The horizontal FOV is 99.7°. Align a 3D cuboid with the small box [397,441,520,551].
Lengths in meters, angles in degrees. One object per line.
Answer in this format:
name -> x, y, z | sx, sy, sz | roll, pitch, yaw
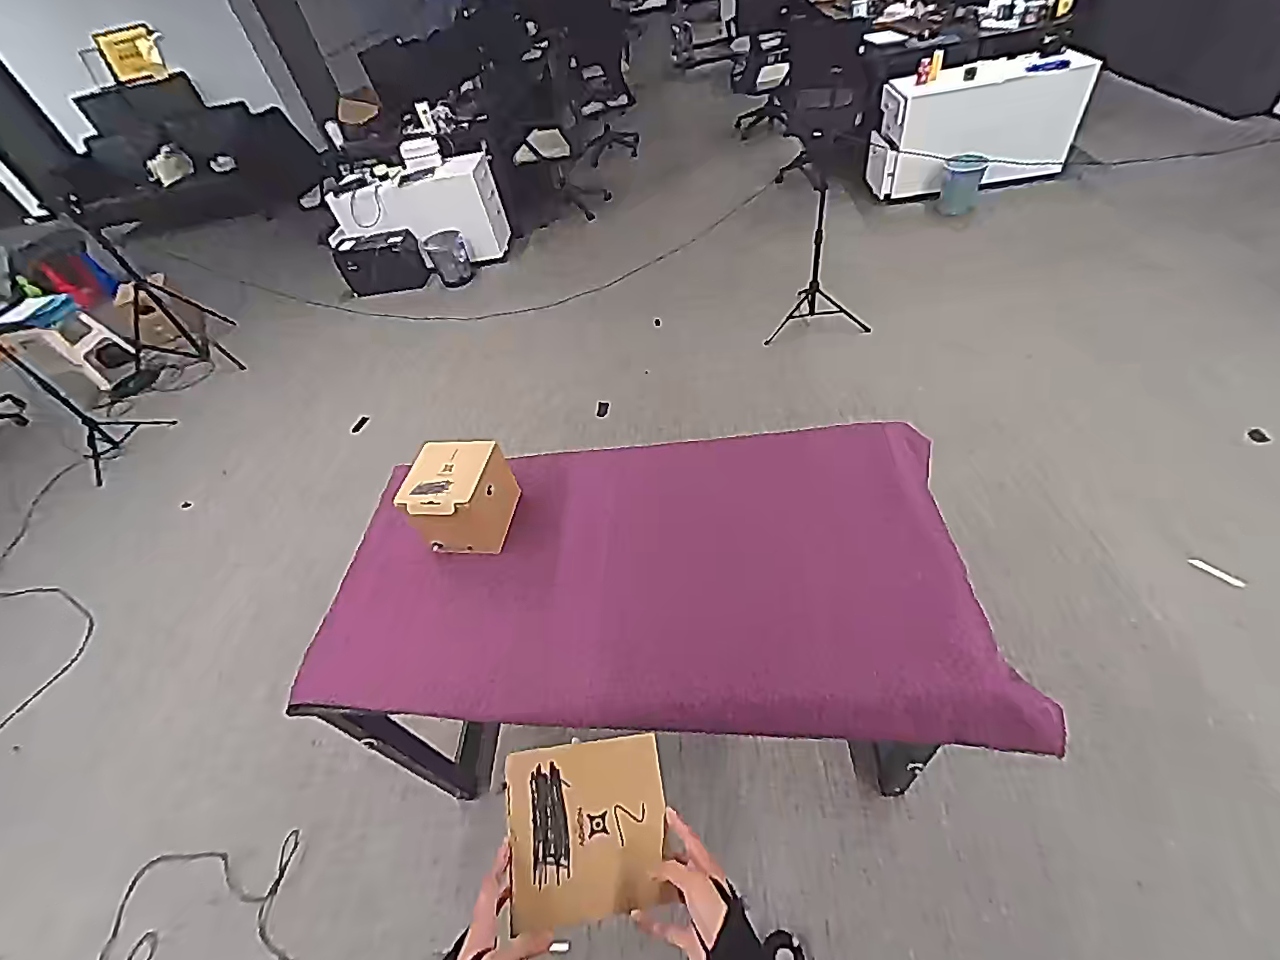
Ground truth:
small box -> -0.372, 0.037, 1.148 | 0.168, 0.176, 0.179 | 0, 48, 11
